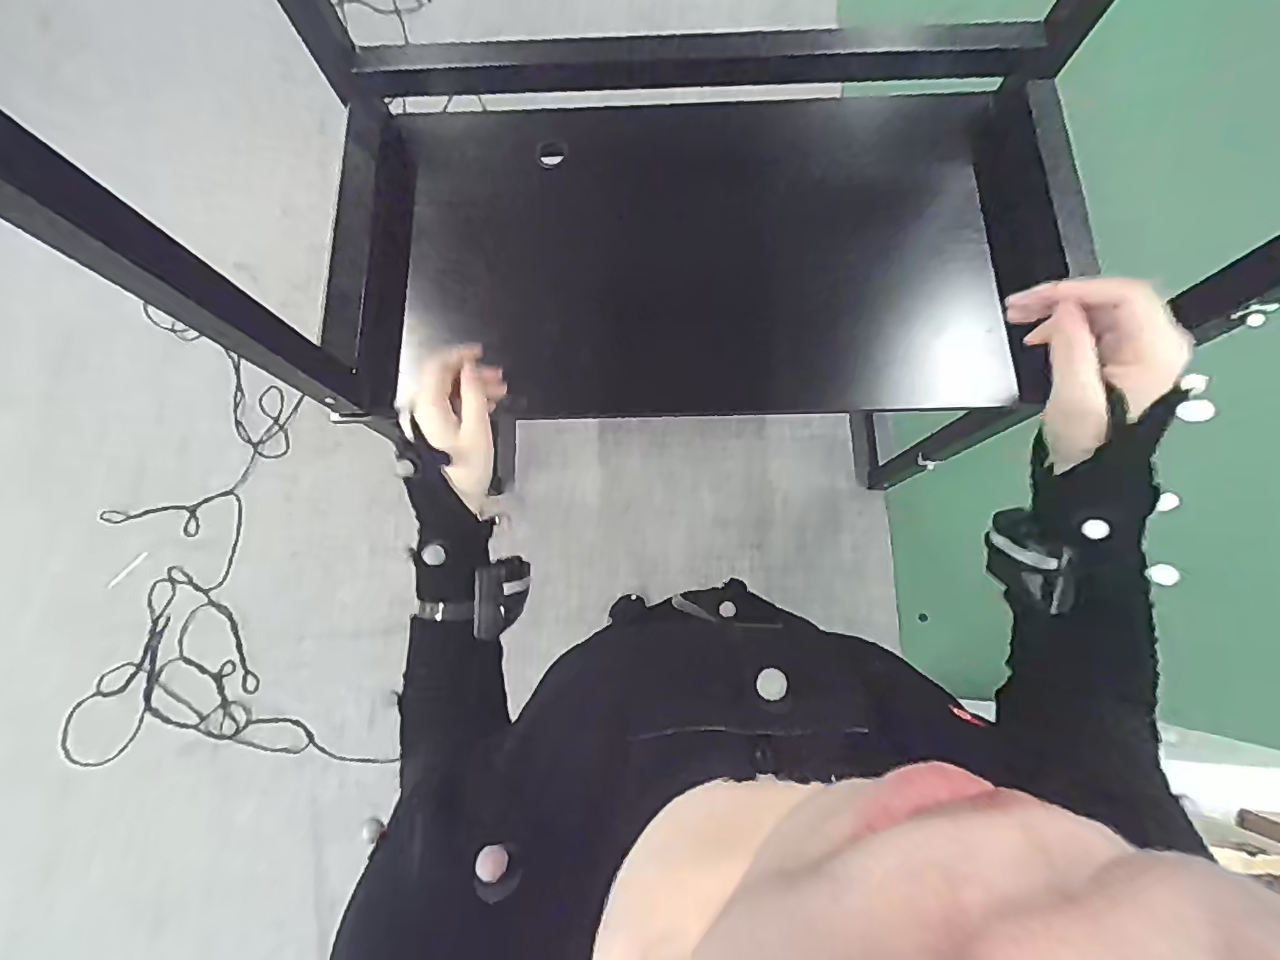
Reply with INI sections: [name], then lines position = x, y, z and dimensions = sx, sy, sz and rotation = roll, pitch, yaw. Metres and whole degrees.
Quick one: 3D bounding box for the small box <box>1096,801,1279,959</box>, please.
[small box]
position = 0.761, 0.561, 0.727
dimensions = 0.168, 0.176, 0.179
rotation = 6, 79, 3
